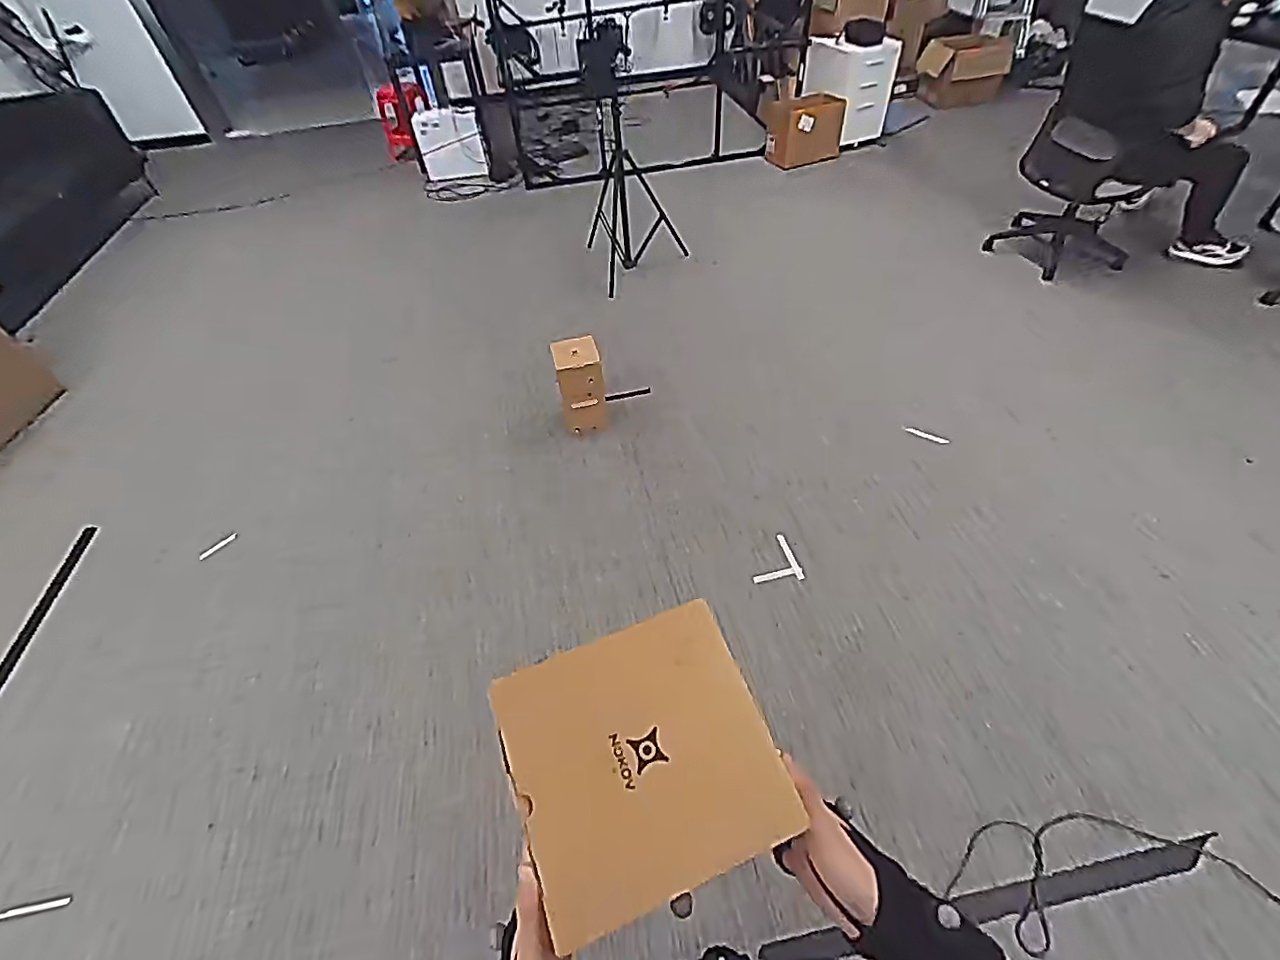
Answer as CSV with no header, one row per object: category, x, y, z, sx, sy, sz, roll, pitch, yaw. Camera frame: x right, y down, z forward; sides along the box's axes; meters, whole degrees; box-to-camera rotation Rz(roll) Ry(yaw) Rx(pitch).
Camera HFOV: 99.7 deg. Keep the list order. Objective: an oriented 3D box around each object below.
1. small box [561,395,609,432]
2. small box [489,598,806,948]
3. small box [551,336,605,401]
small box,-0.224,-0.308,2.174,0.168,0.176,0.179,-12,48,-6
small box,-0.001,0.220,0.440,0.179,0.176,0.168,-21,64,-10
small box,-0.233,-0.416,2.052,0.168,0.176,0.179,-12,48,-7
